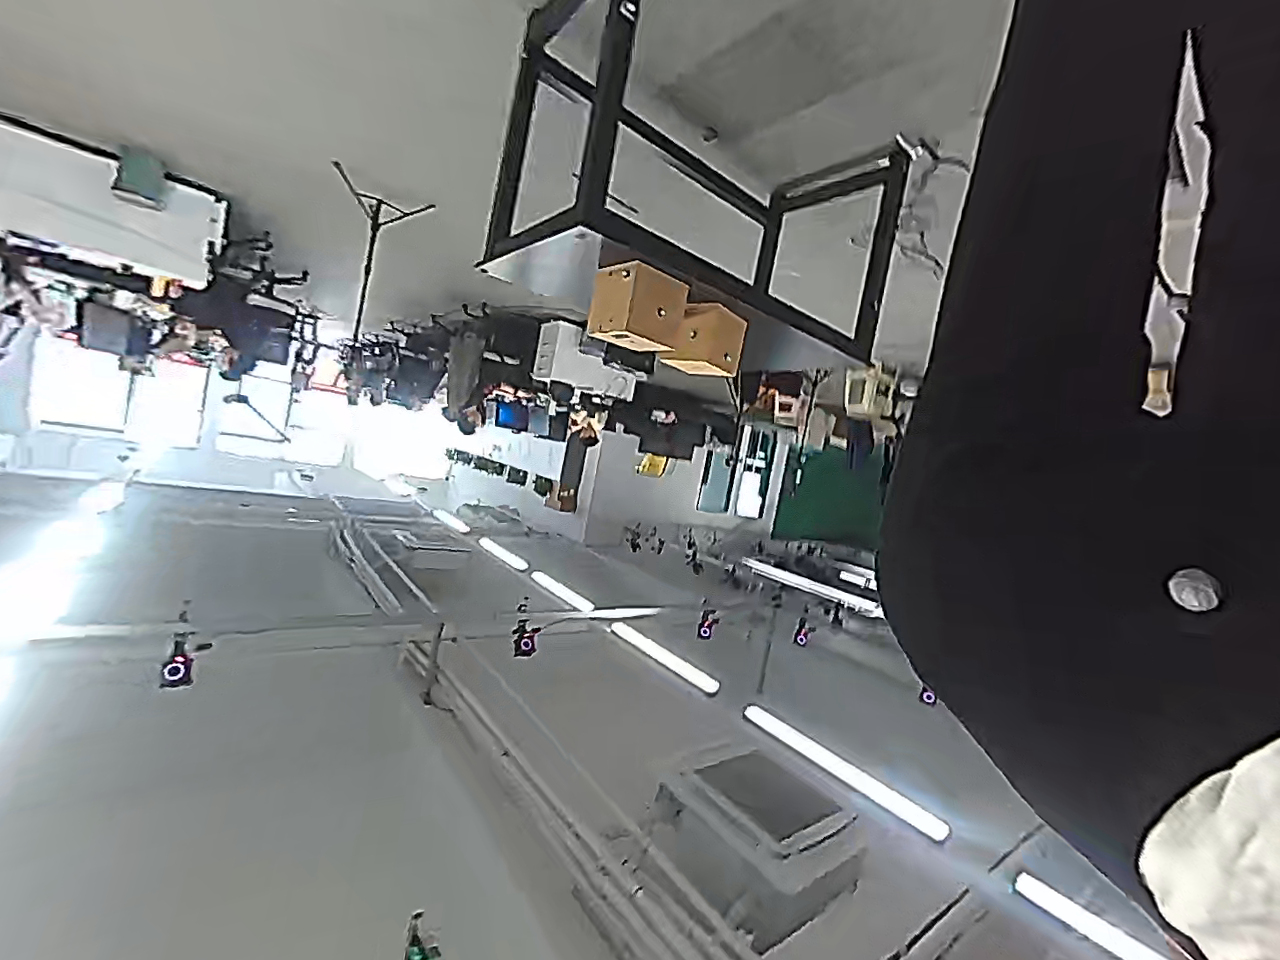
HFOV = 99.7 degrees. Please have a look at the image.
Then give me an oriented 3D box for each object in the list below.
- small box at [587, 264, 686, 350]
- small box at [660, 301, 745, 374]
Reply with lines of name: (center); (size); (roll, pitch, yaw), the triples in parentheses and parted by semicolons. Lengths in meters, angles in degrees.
small box: (-0.008, -0.434, 1.363); (0.179, 0.176, 0.168); (6, -174, -41)
small box: (0.183, -0.413, 1.567); (0.168, 0.176, 0.179); (13, -175, 38)
